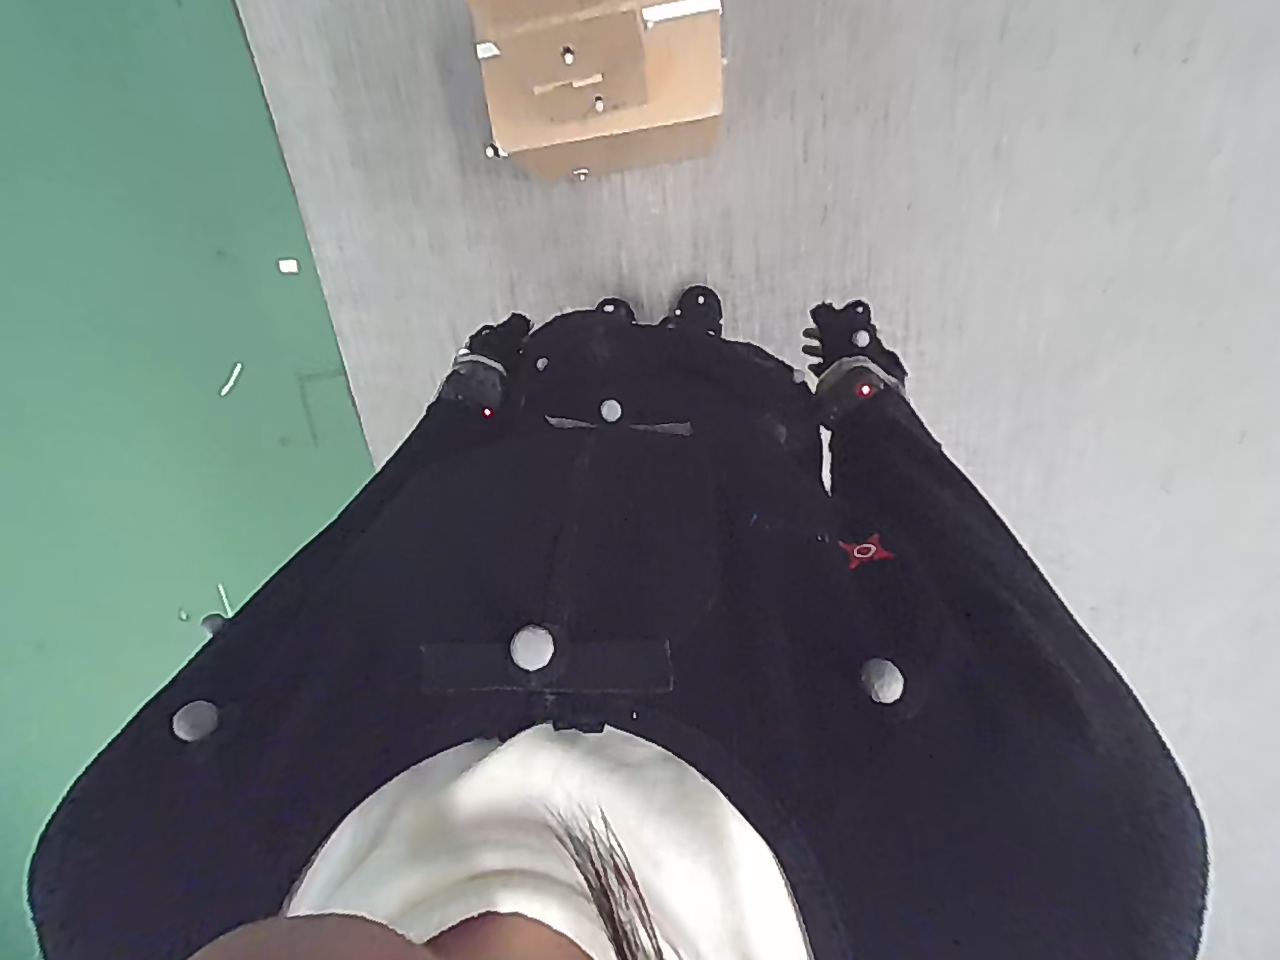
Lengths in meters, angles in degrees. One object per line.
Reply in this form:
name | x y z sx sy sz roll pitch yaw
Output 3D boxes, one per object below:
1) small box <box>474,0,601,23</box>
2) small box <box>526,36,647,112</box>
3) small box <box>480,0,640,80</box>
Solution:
small box | -0.108 -0.575 0.509 0.179 0.176 0.168 -7 111 8
small box | -0.088 -0.684 0.816 0.168 0.176 0.179 -8 110 9
small box | -0.097 -0.626 0.662 0.179 0.176 0.168 -5 110 9
